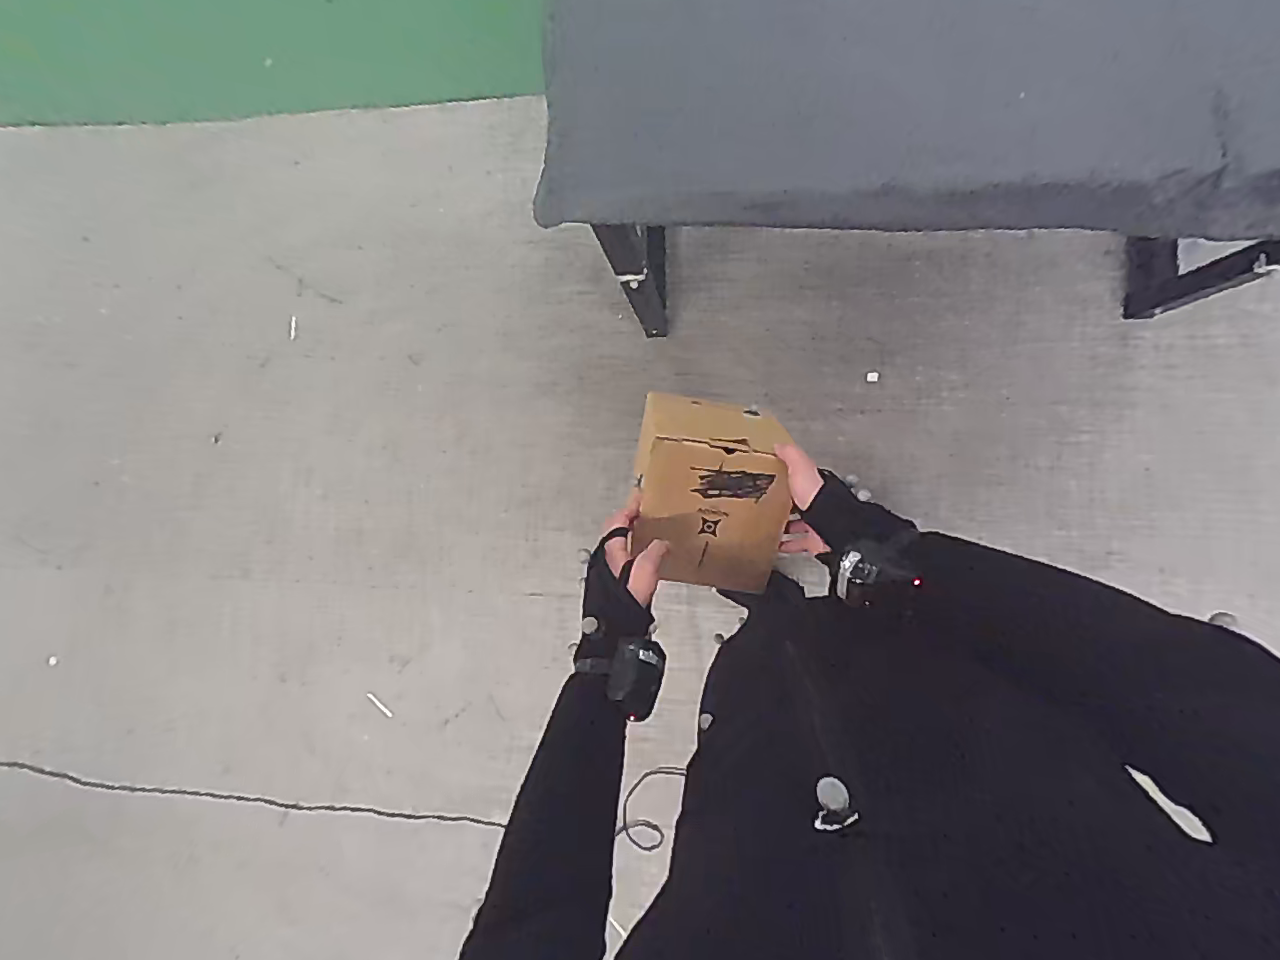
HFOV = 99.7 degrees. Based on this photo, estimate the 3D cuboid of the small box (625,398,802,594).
[{"bbox_3d":[0.077,0.011,0.662,0.168,0.176,0.179,9,114,-3],"label":"small box"}]
